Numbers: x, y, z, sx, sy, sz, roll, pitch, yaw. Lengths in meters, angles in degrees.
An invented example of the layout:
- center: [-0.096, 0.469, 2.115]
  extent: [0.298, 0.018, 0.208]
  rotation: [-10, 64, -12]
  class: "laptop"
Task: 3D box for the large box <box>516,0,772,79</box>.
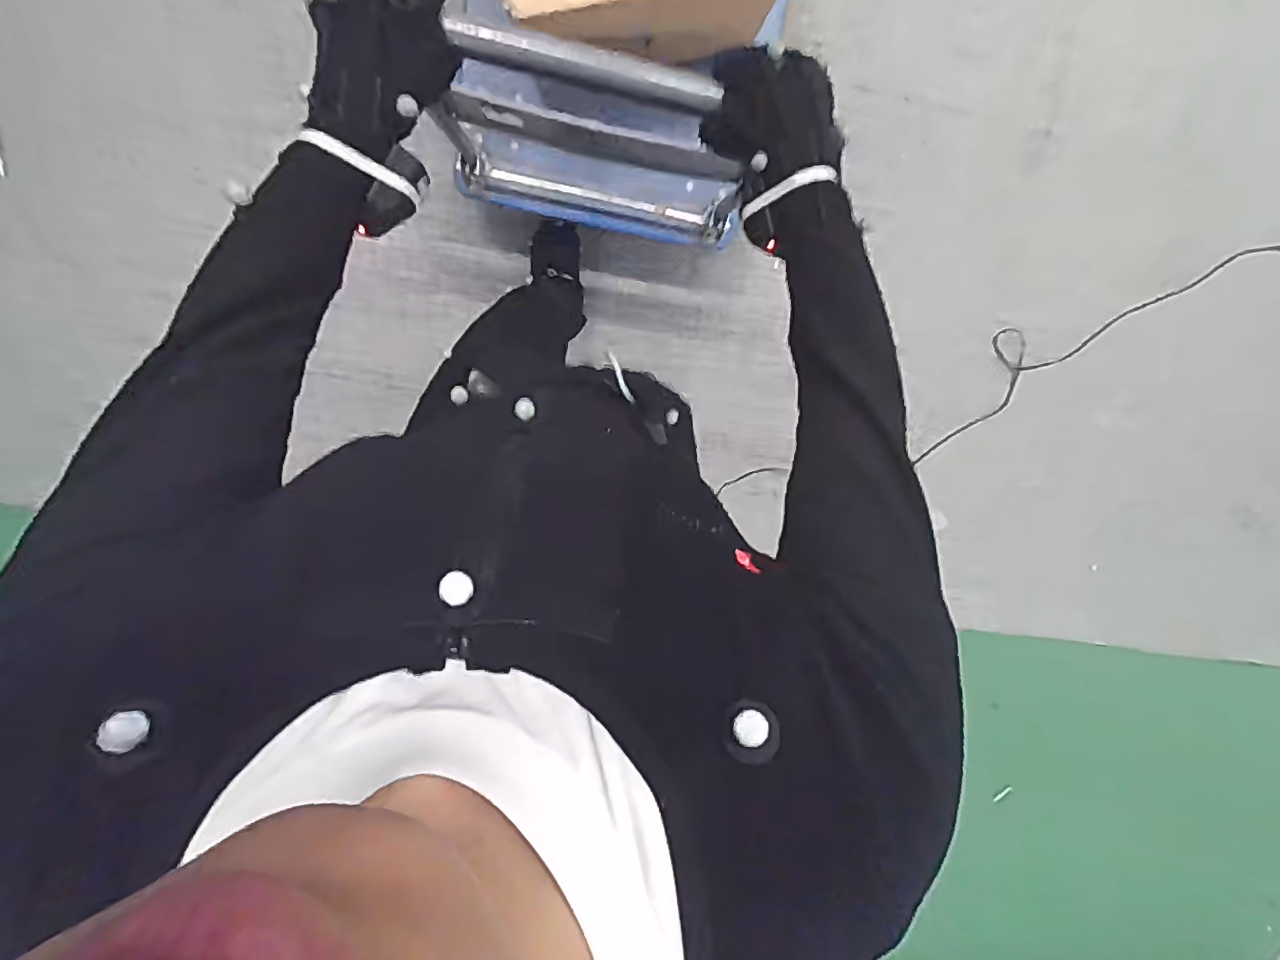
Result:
- center: [-0.004, -0.878, 0.829]
  extent: [0.408, 0.320, 0.320]
  rotation: [-10, 110, 2]
  class: "large box"
